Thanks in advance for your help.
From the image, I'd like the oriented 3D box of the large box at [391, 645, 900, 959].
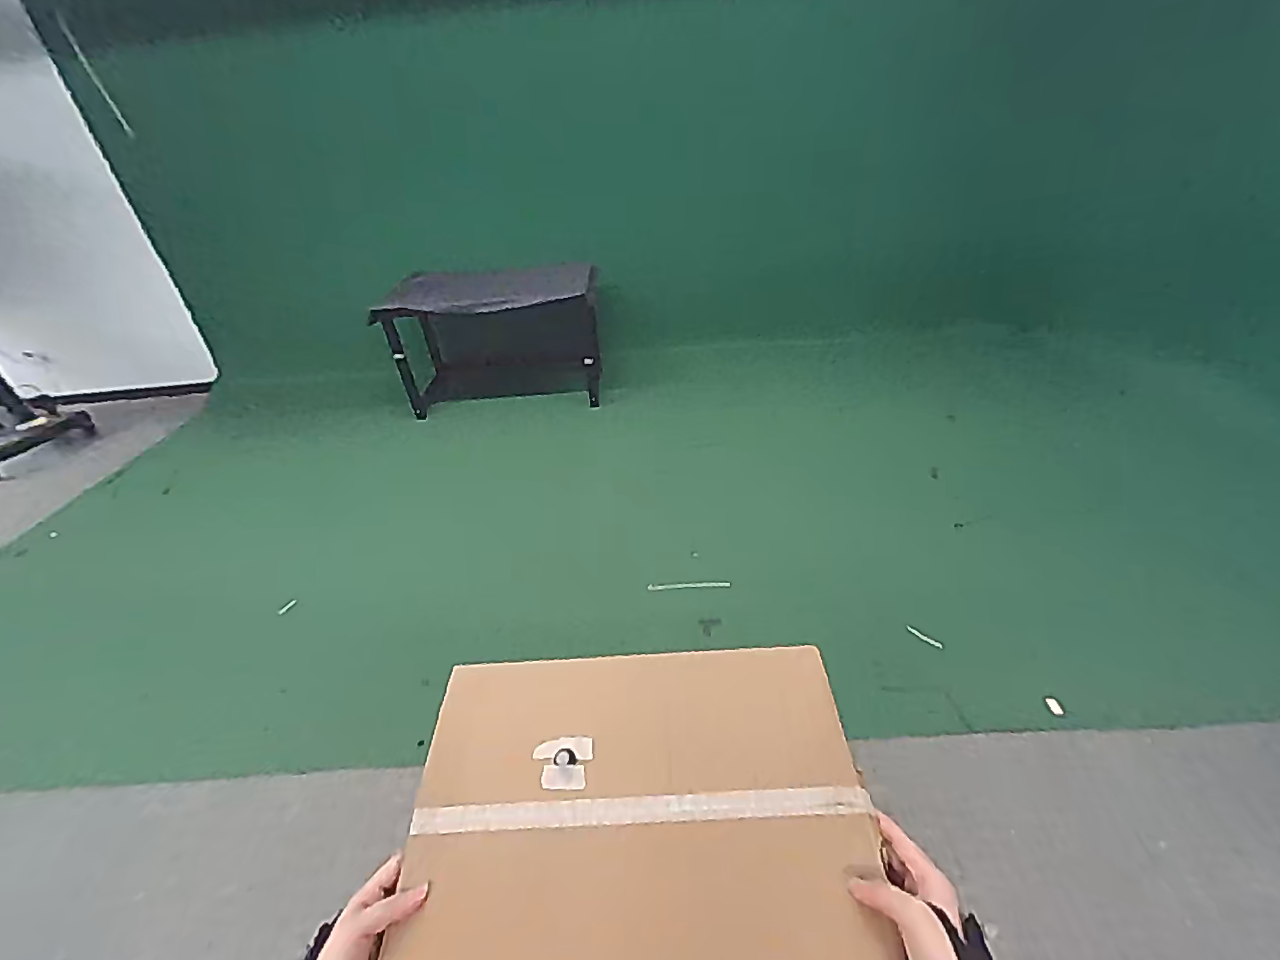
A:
[{"bbox_3d":[0.011,0.414,0.594,0.408,0.320,0.320,-6,41,4],"label":"large box"}]
